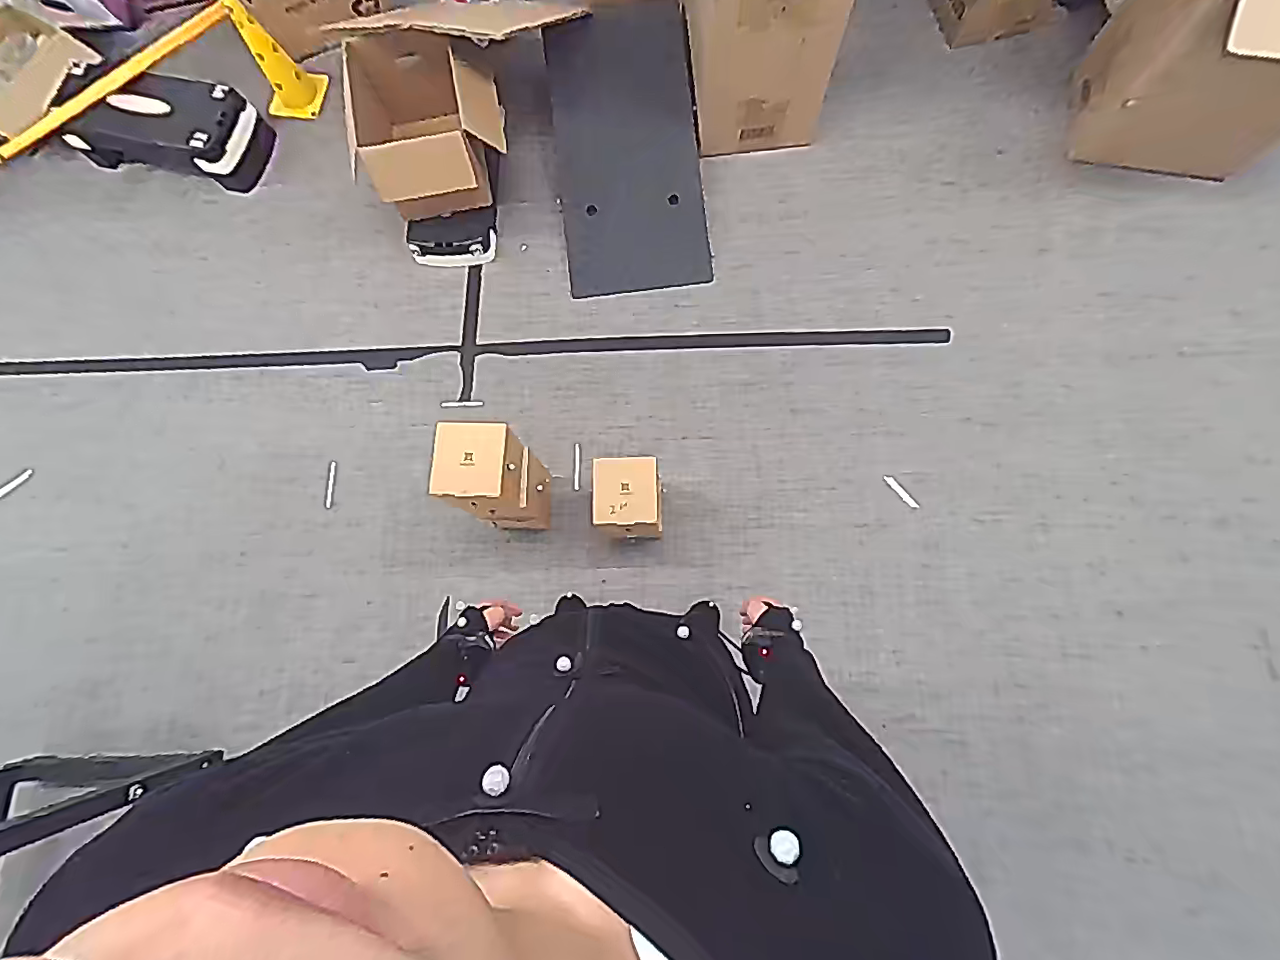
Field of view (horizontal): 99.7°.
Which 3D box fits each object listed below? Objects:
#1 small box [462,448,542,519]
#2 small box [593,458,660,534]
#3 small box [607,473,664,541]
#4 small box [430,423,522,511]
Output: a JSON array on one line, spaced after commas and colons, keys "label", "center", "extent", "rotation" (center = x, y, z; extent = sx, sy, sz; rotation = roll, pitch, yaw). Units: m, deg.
[{"label": "small box", "center": [-0.372, 0.014, 1.464], "extent": [0.179, 0.176, 0.168], "rotation": [0, 77, 1]}, {"label": "small box", "center": [-0.033, 0.047, 1.446], "extent": [0.168, 0.176, 0.179], "rotation": [-1, 78, 3]}, {"label": "small box", "center": [-0.014, 0.084, 1.606], "extent": [0.168, 0.176, 0.179], "rotation": [-3, 78, 3]}, {"label": "small box", "center": [-0.387, -0.028, 1.307], "extent": [0.168, 0.176, 0.179], "rotation": [1, 78, 2]}]
